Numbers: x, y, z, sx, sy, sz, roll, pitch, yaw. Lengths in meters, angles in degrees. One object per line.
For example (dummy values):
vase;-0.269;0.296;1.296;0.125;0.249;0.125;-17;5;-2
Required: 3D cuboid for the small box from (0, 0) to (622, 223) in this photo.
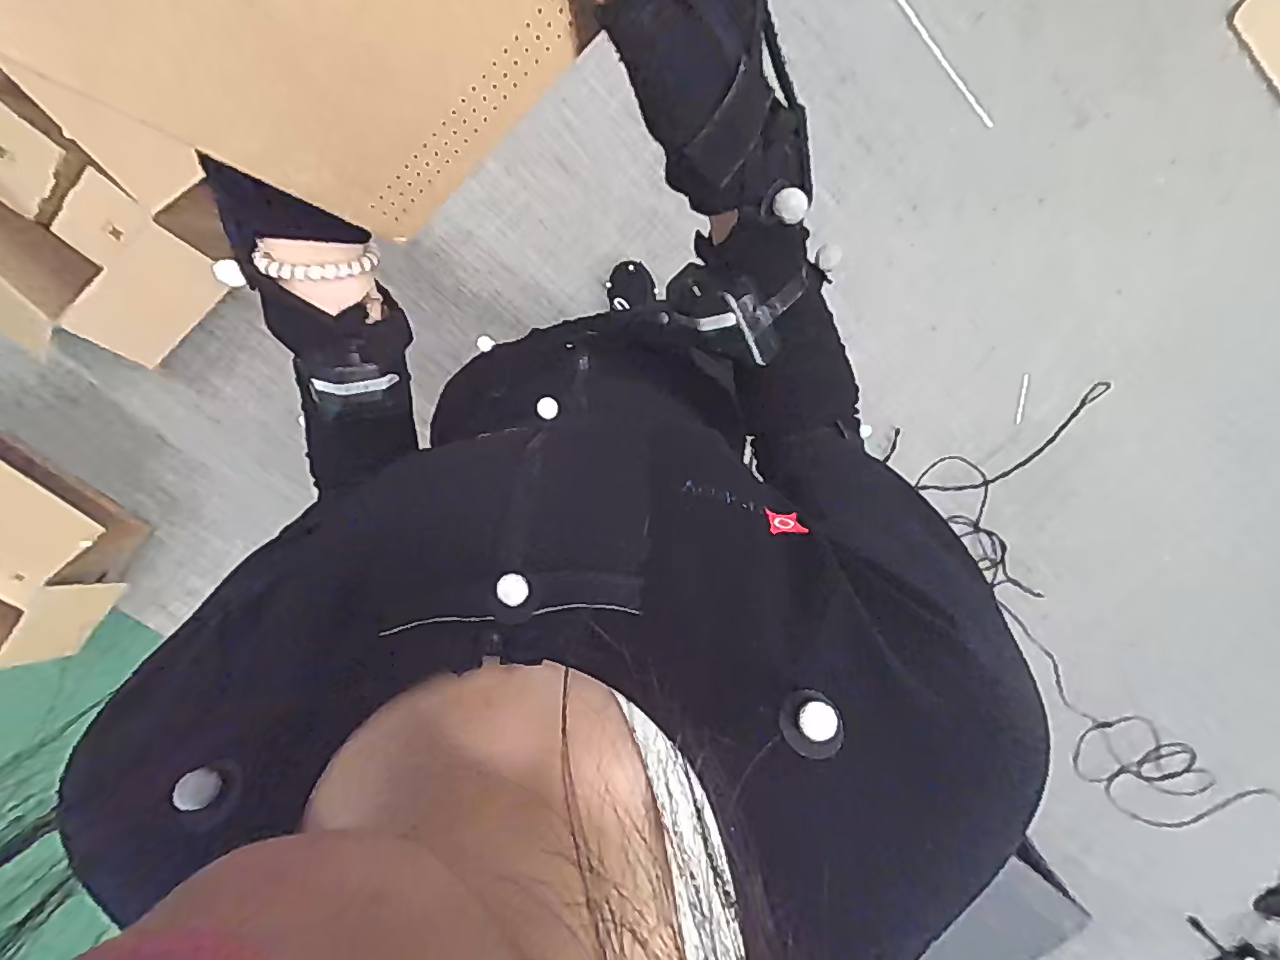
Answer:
small box;-0.125;-0.236;0.196;0.179;0.176;0.168;-33;75;22
